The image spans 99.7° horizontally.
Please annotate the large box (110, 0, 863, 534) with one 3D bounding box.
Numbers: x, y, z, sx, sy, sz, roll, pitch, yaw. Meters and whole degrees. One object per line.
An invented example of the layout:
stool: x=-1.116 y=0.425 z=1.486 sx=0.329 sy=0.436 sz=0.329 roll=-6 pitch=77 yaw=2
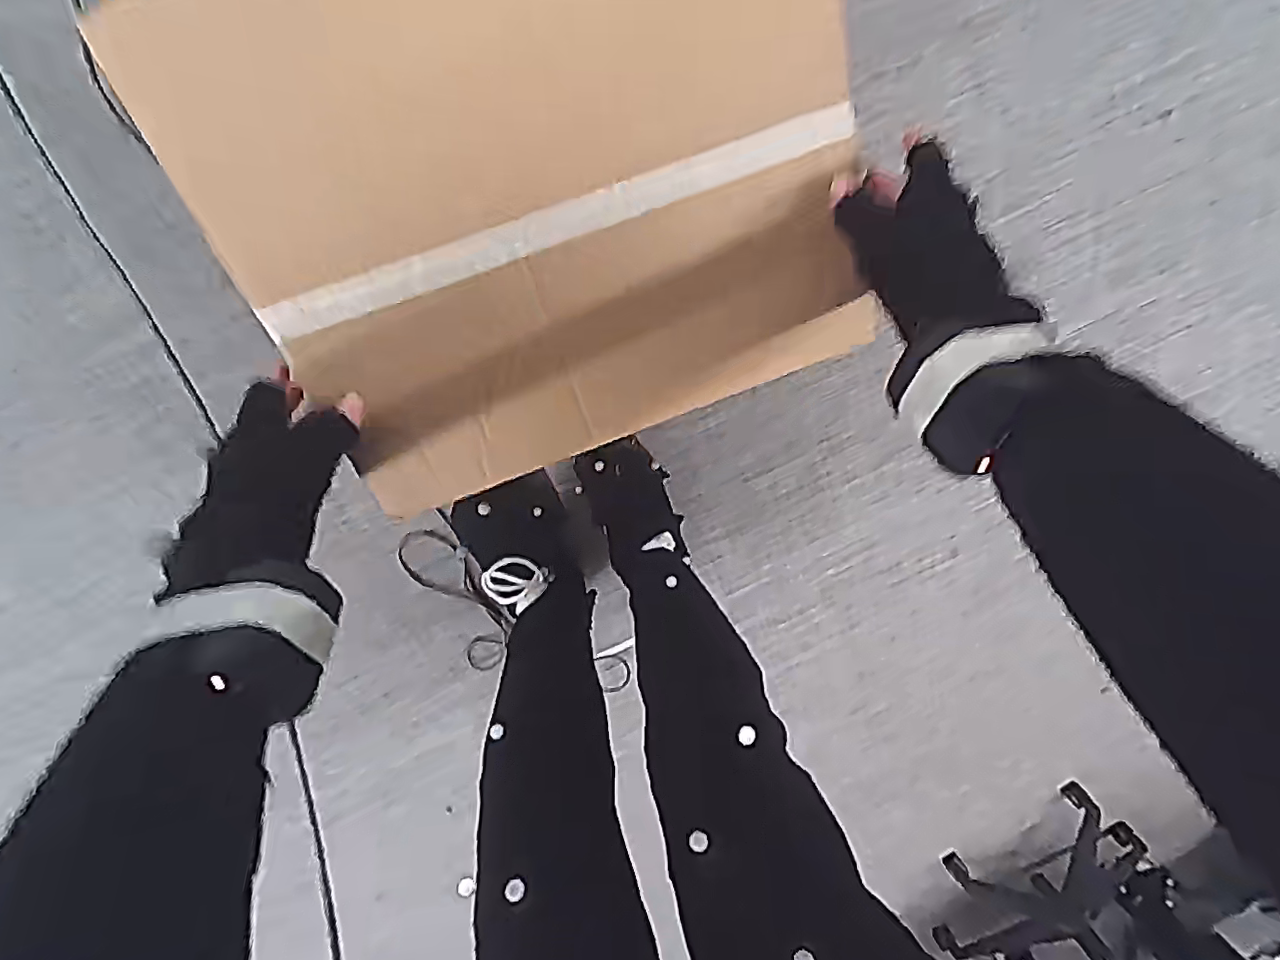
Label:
large box: x=-0.079 y=-0.220 z=0.488 sx=0.408 sy=0.320 sz=0.320 roll=-22 pitch=116 yaw=-3
